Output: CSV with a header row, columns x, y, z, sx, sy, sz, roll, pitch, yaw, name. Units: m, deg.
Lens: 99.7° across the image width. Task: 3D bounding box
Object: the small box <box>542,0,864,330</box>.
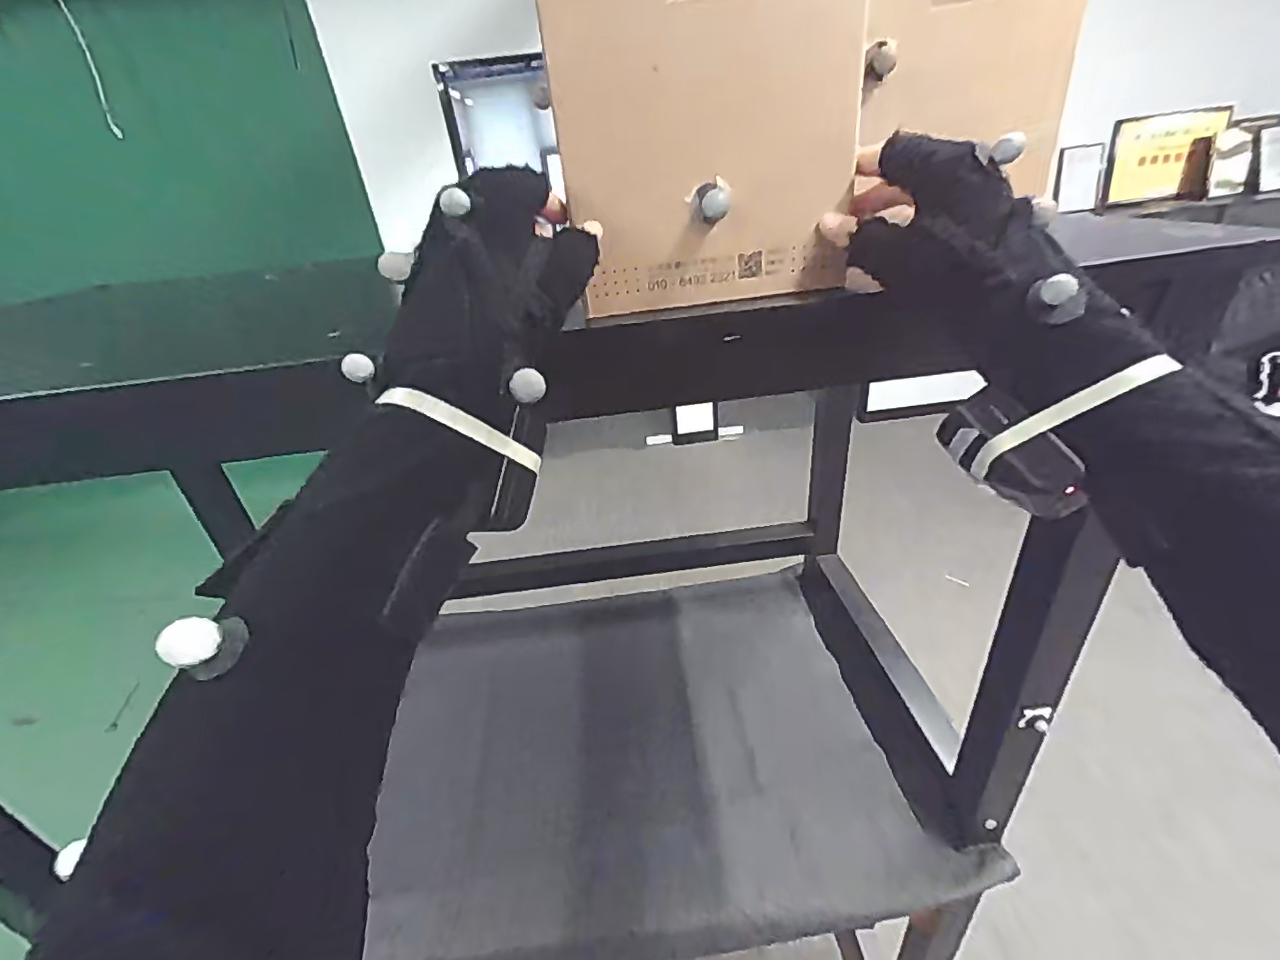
x,y,z,sx,sy,sz,roll,pitch,yaw,name
0.034,-0.211,0.379,0.168,0.176,0.179,-7,30,-1,small box
